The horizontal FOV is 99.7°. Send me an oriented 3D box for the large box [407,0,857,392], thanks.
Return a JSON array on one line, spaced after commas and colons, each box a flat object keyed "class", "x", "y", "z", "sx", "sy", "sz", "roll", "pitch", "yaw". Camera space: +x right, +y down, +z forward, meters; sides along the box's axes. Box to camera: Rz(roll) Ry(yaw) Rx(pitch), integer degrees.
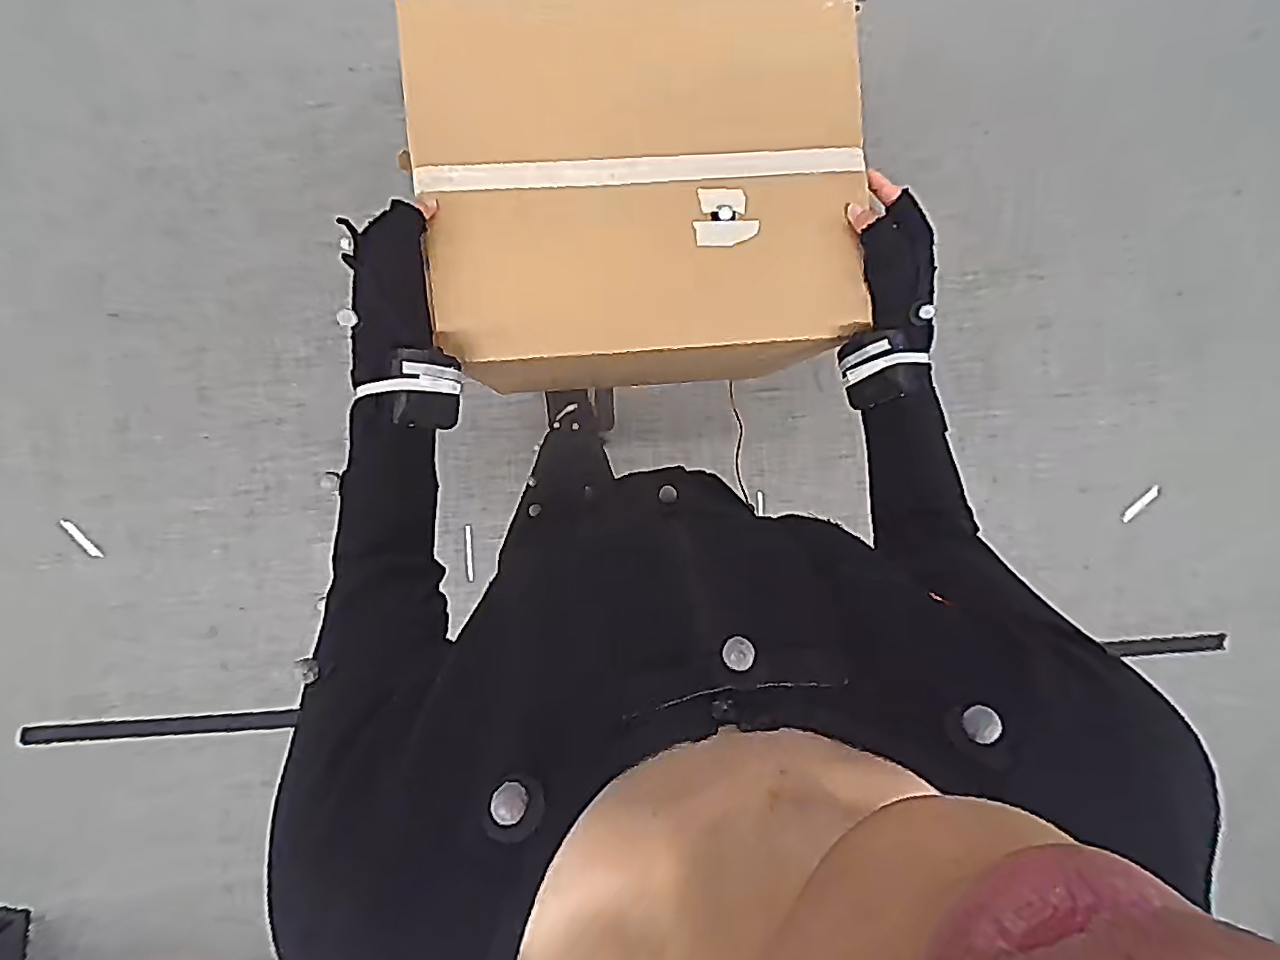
[{"class": "large box", "x": -0.012, "y": -0.292, "z": 0.651, "sx": 0.408, "sy": 0.320, "sz": 0.320, "roll": -5, "pitch": 95, "yaw": -5}]
